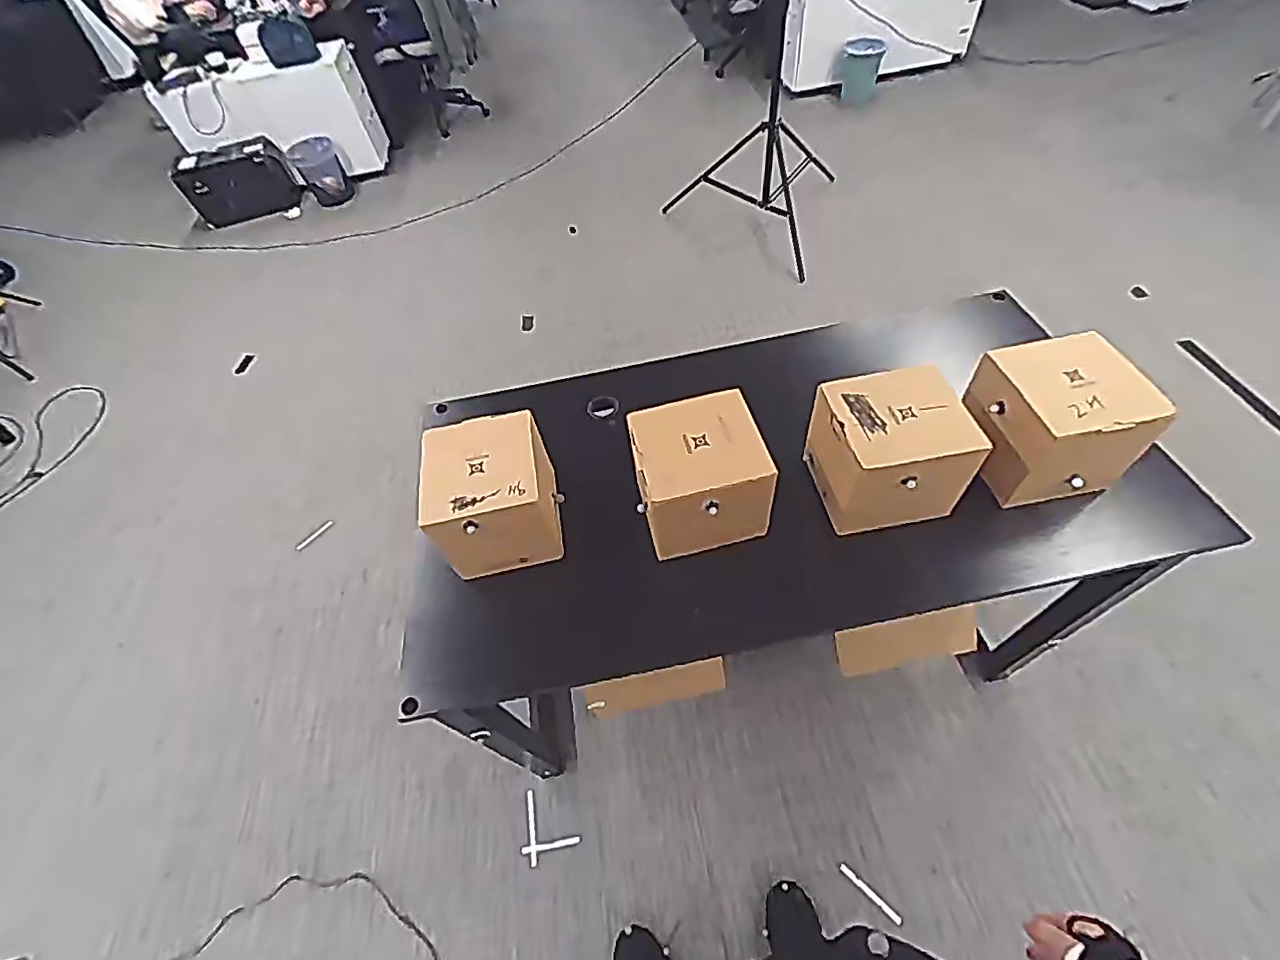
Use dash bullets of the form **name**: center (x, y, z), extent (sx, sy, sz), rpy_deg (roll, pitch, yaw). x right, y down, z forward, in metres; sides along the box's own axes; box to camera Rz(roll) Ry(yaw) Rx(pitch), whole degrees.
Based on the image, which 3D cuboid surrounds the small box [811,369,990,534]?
- **small box**: center (0.364, -0.036, 0.803), extent (0.179, 0.176, 0.168), rpy_deg (-9, 53, 0)

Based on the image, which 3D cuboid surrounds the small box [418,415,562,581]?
- **small box**: center (-0.222, 0.030, 0.833), extent (0.168, 0.176, 0.179), rpy_deg (-12, 53, -2)

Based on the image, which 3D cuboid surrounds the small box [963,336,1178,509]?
- **small box**: center (0.605, -0.082, 0.804), extent (0.168, 0.176, 0.179), rpy_deg (-11, 53, 1)

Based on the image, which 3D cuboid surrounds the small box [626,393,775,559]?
- **small box**: center (0.087, 0.000, 0.817), extent (0.179, 0.176, 0.168), rpy_deg (-13, 54, -3)
